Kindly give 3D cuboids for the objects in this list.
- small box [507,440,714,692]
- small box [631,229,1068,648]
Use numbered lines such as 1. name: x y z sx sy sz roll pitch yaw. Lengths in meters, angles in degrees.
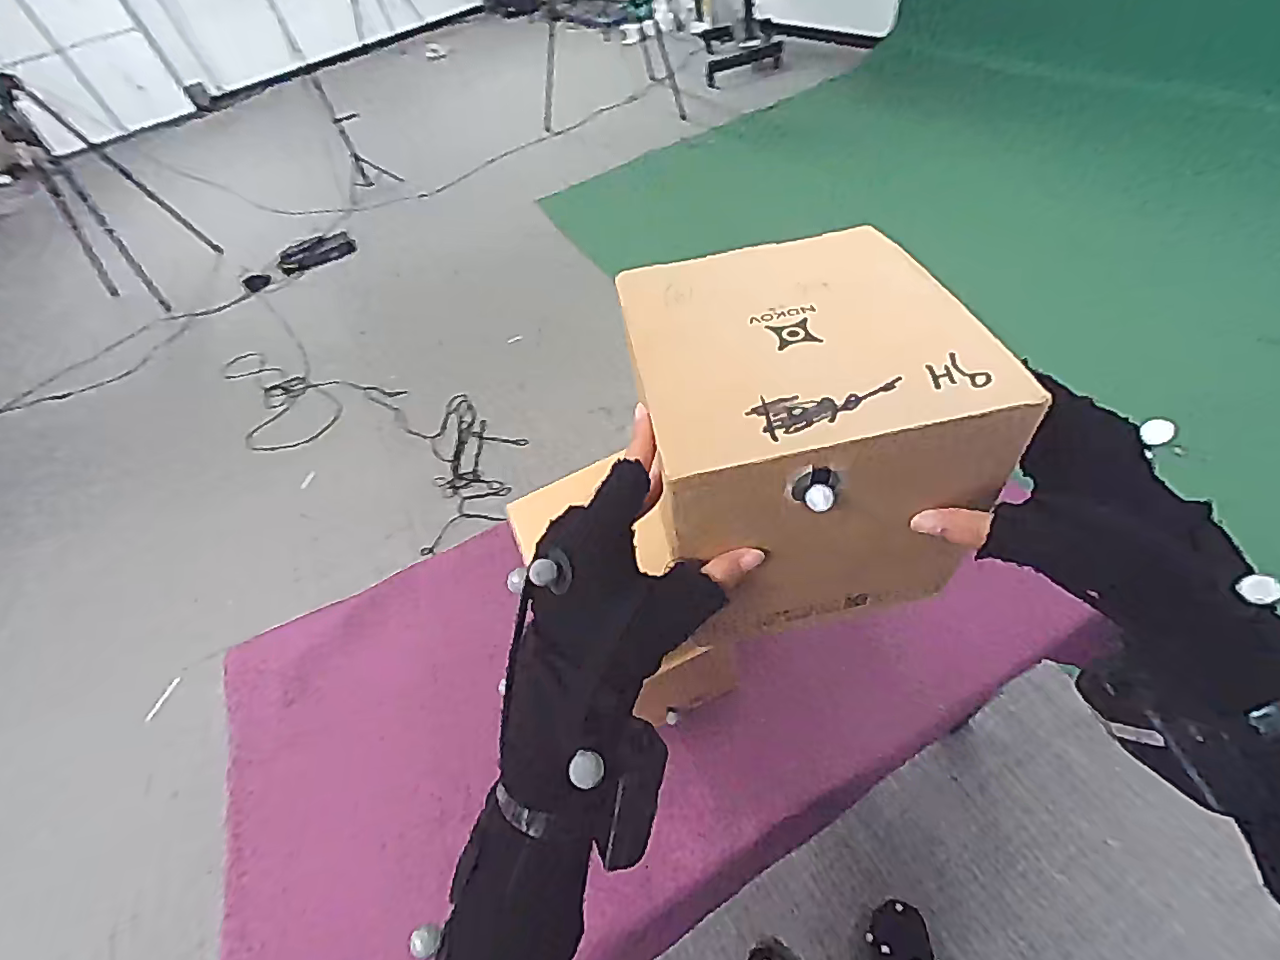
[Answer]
1. small box: -0.013 0.096 0.578 0.179 0.176 0.168 -26 50 -8
2. small box: 0.094 -0.024 0.334 0.168 0.176 0.179 -12 48 1
